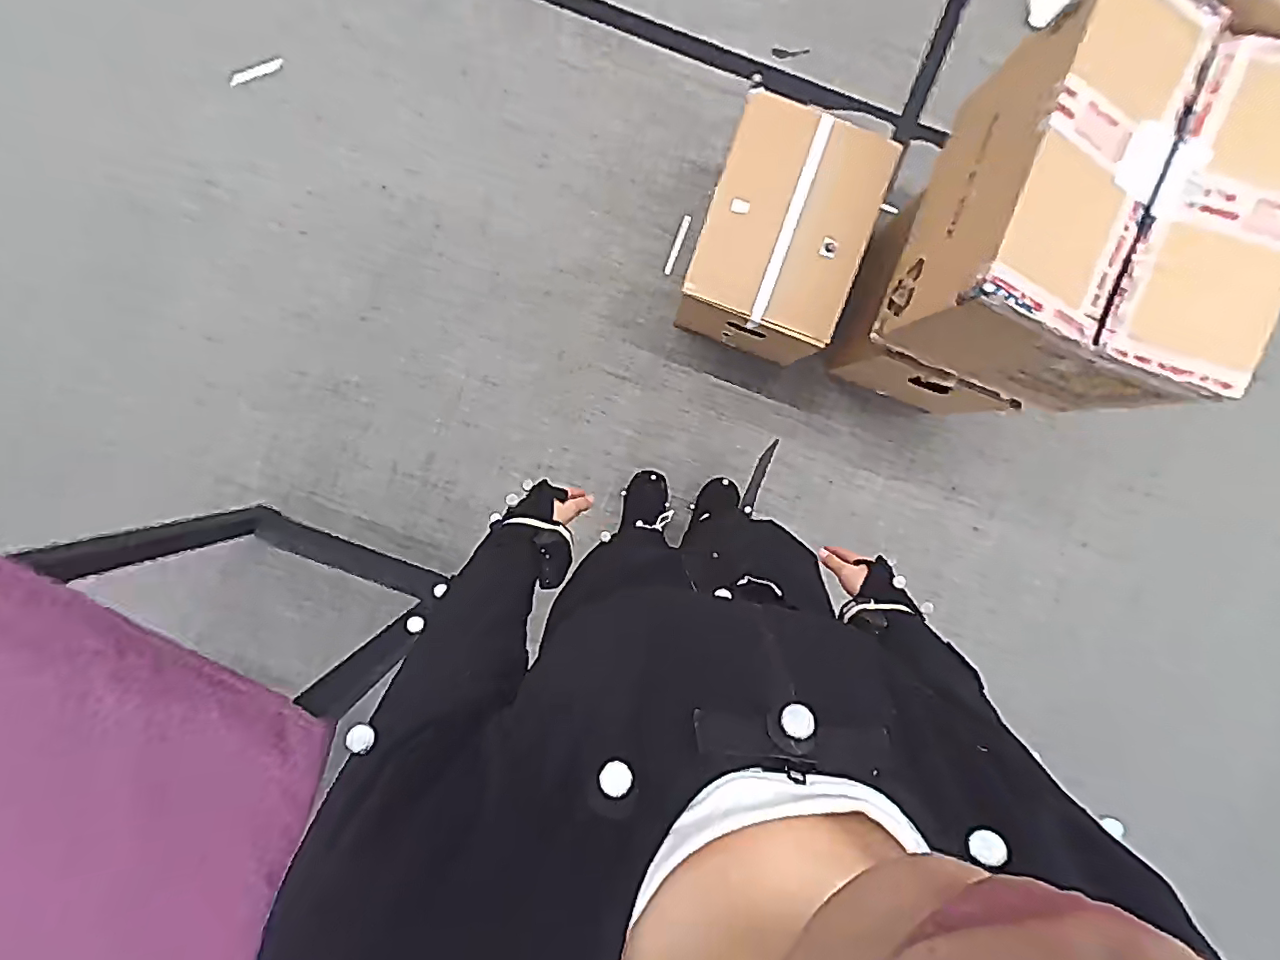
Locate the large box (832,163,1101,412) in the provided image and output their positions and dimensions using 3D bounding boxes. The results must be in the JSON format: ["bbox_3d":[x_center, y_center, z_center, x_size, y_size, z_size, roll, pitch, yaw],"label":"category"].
[{"bbox_3d":[0.691,-0.392,1.208,0.320,0.320,0.408,20,95,-2],"label":"large box"}]
